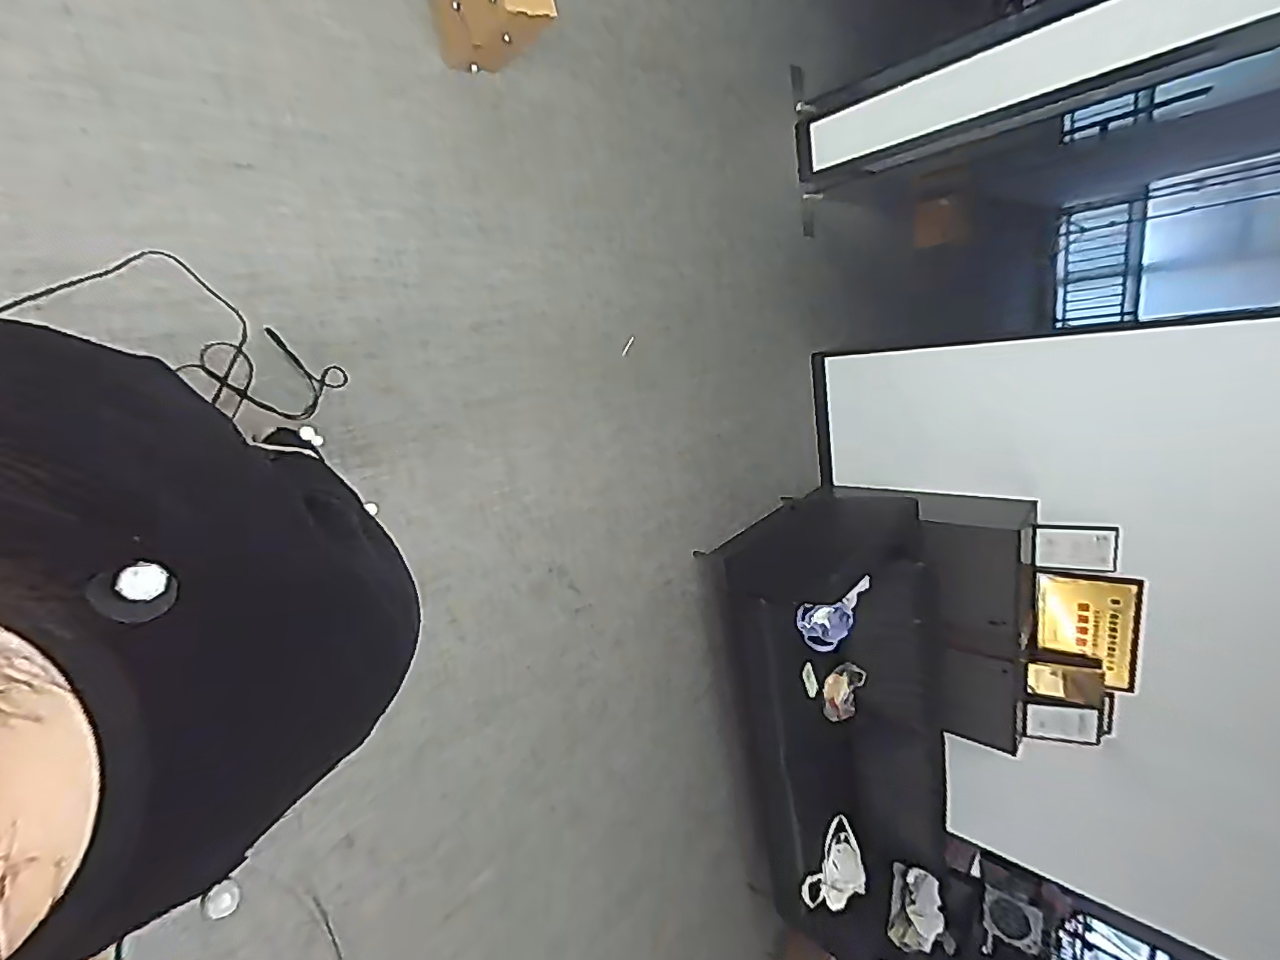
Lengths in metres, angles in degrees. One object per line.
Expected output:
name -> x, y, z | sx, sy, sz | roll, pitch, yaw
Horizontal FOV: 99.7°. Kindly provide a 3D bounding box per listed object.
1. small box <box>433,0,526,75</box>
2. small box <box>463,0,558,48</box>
small box -> -0.449, -1.268, 1.498 | 0.168, 0.176, 0.179 | -27, 114, -39
small box -> -0.344, -1.246, 1.375 | 0.168, 0.176, 0.179 | -33, 118, -38
